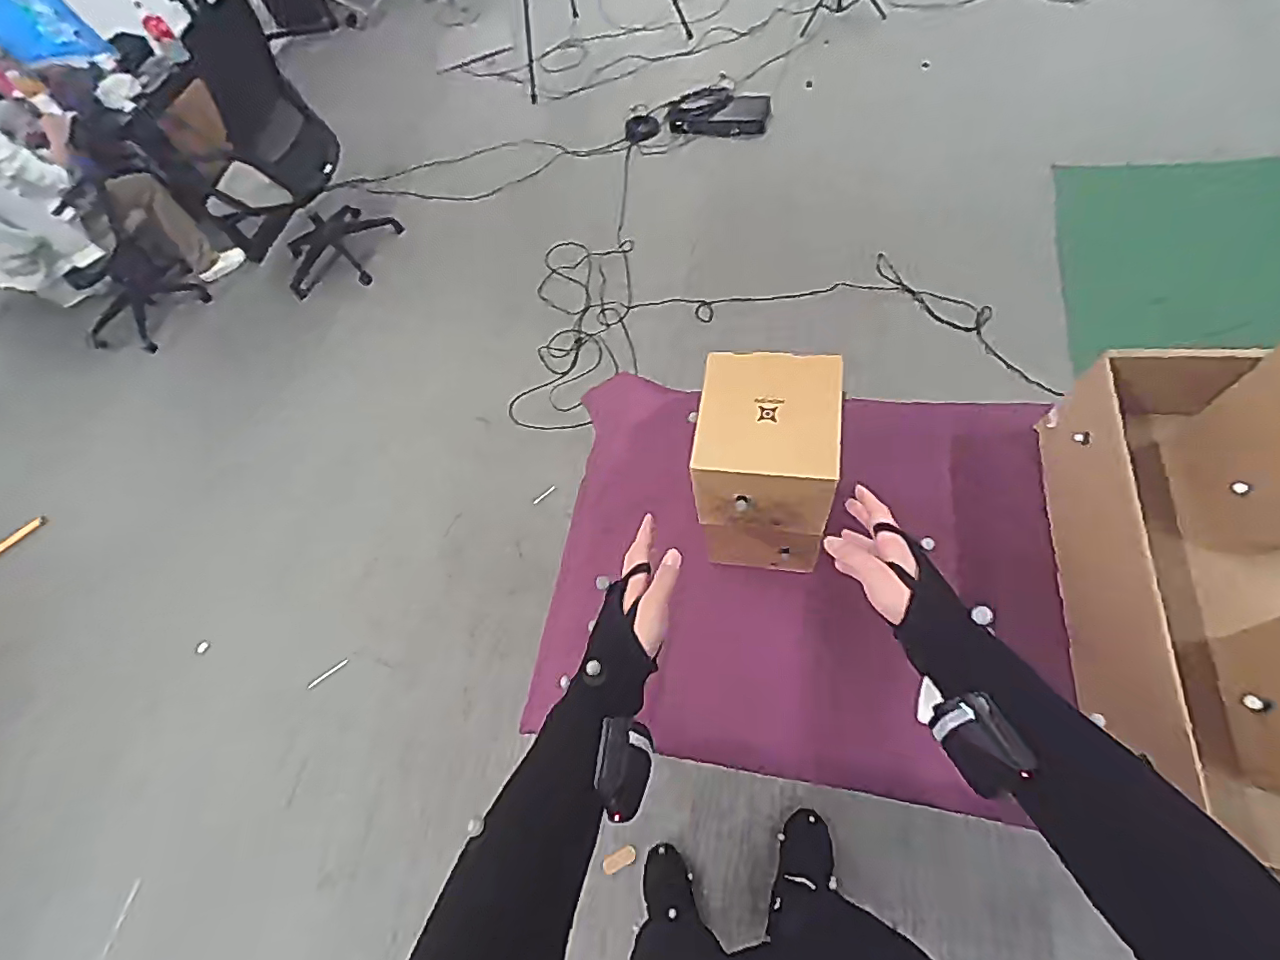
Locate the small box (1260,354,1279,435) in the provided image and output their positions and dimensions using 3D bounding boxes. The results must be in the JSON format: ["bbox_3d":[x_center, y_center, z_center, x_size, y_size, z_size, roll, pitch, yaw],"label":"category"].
[{"bbox_3d":[0.791,-0.091,0.531,0.168,0.176,0.179,3,64,15],"label":"small box"}]

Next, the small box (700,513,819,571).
[{"bbox_3d":[0.193,0.031,0.849,0.168,0.176,0.179,5,63,14],"label":"small box"}]

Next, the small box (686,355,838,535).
[{"bbox_3d":[0.161,-0.041,0.708,0.168,0.176,0.179,5,63,14],"label":"small box"}]
